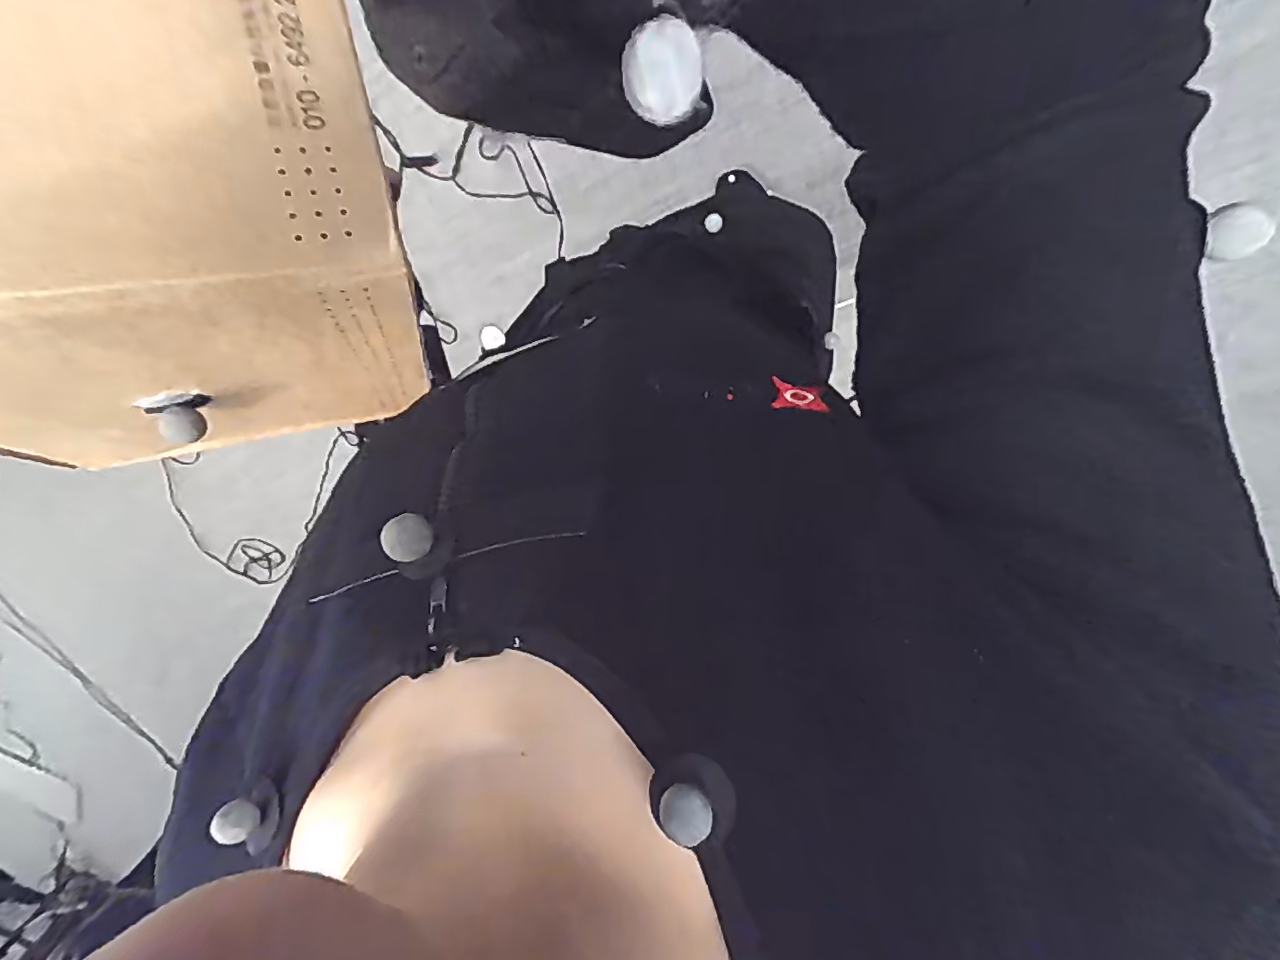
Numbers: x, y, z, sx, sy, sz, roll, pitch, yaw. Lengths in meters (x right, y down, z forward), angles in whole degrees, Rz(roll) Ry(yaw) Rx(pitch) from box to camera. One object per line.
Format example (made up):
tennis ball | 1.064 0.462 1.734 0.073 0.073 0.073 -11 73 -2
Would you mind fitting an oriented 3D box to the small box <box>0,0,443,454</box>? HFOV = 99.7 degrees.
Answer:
small box | -0.186 -0.118 0.225 0.176 0.179 0.168 -14 87 -19
